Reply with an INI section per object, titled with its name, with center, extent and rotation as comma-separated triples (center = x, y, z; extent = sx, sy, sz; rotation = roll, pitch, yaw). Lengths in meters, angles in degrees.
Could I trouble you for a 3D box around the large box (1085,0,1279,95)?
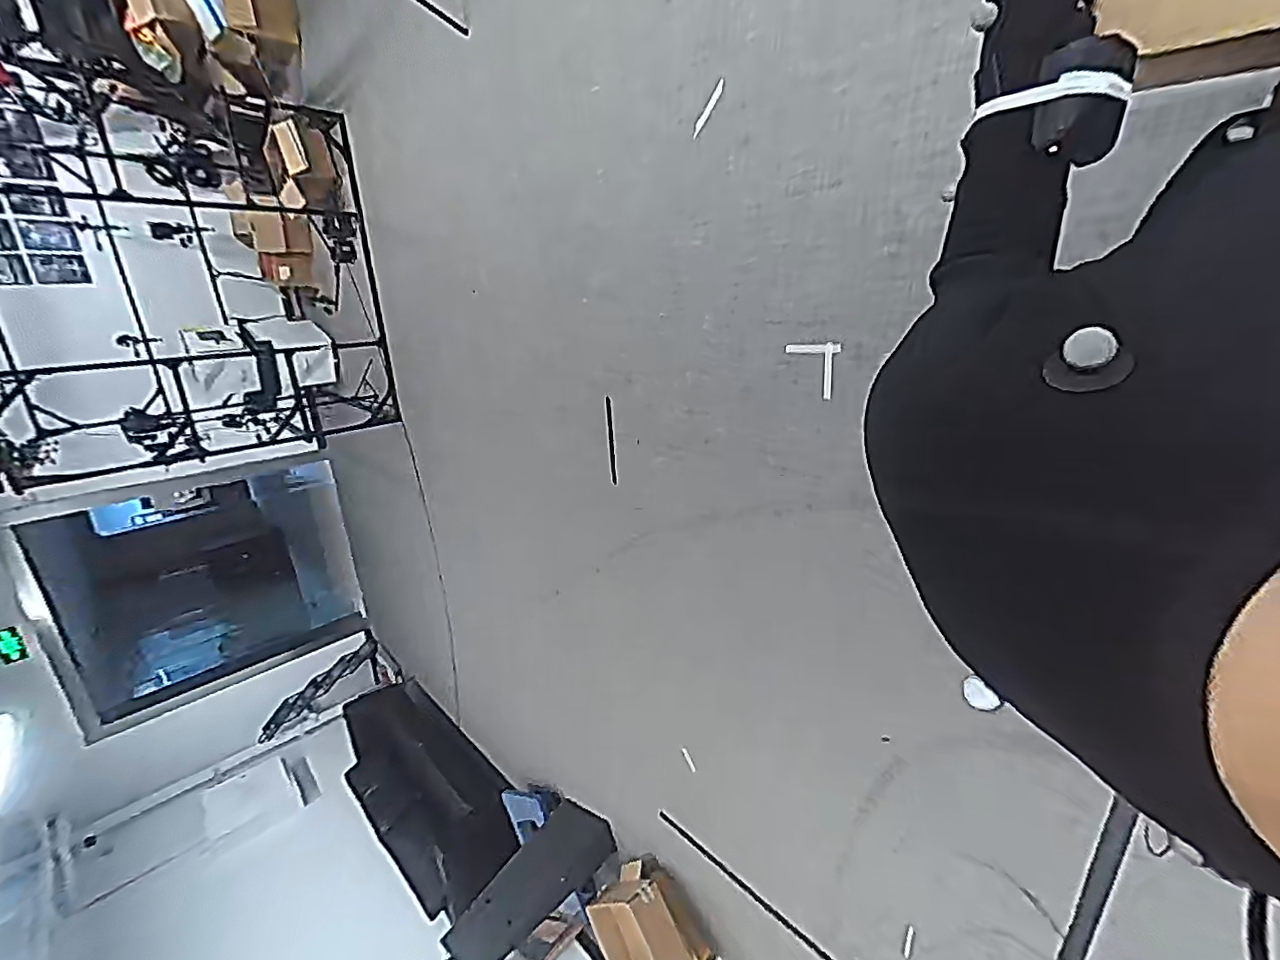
[large box]
center = 0.552, -0.456, 0.305
extent = 0.408, 0.320, 0.320
rotation = 16, 125, 39
